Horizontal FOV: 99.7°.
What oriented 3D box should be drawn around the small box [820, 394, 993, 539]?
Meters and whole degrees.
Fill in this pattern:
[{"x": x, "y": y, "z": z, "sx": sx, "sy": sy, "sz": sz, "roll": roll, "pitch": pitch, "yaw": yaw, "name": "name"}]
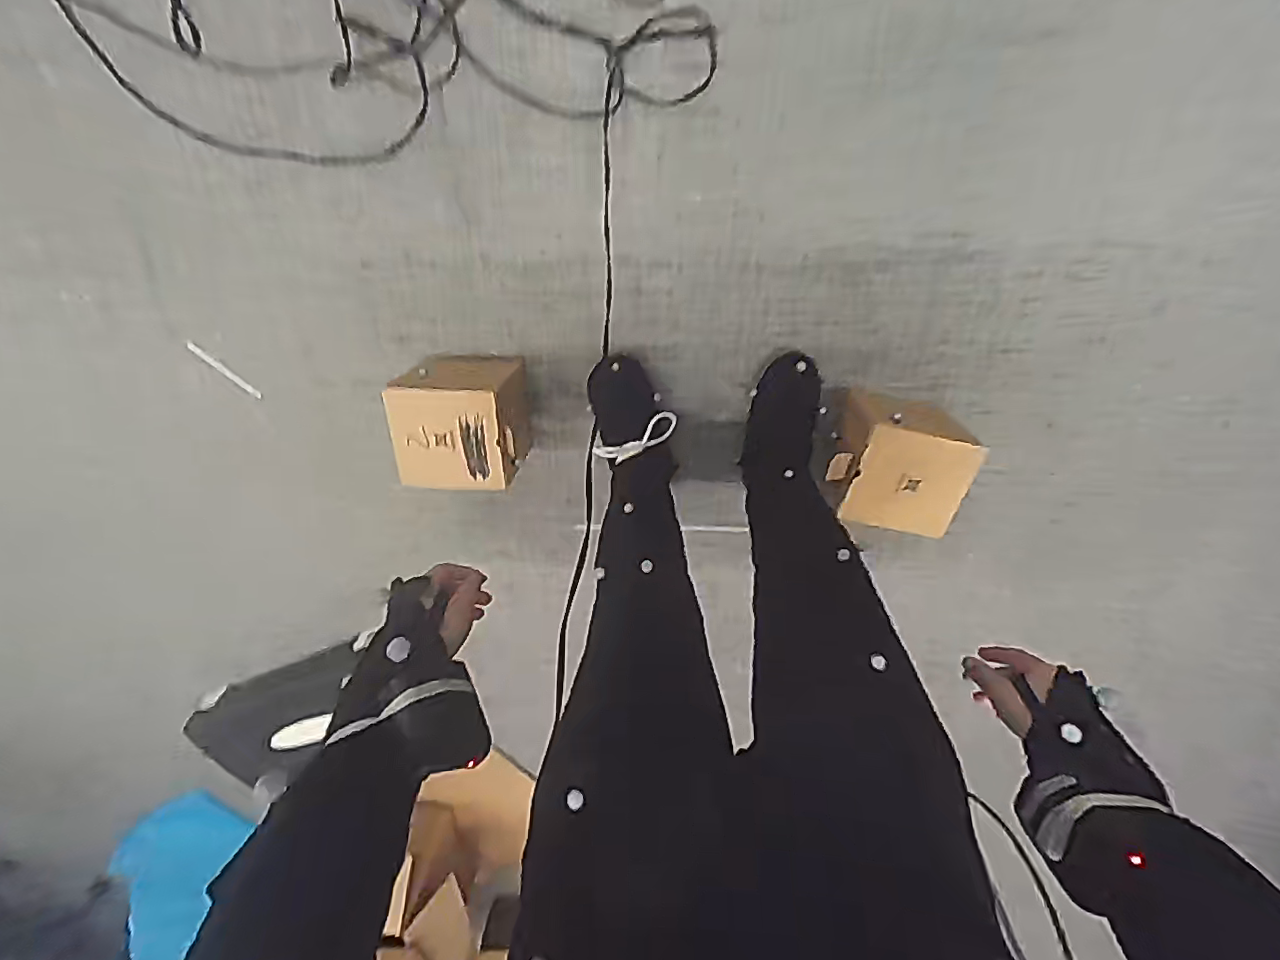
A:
[{"x": 0.422, "y": -0.029, "z": 0.892, "sx": 0.179, "sy": 0.176, "sz": 0.168, "roll": 12, "pitch": 118, "yaw": -1, "name": "small box"}]
